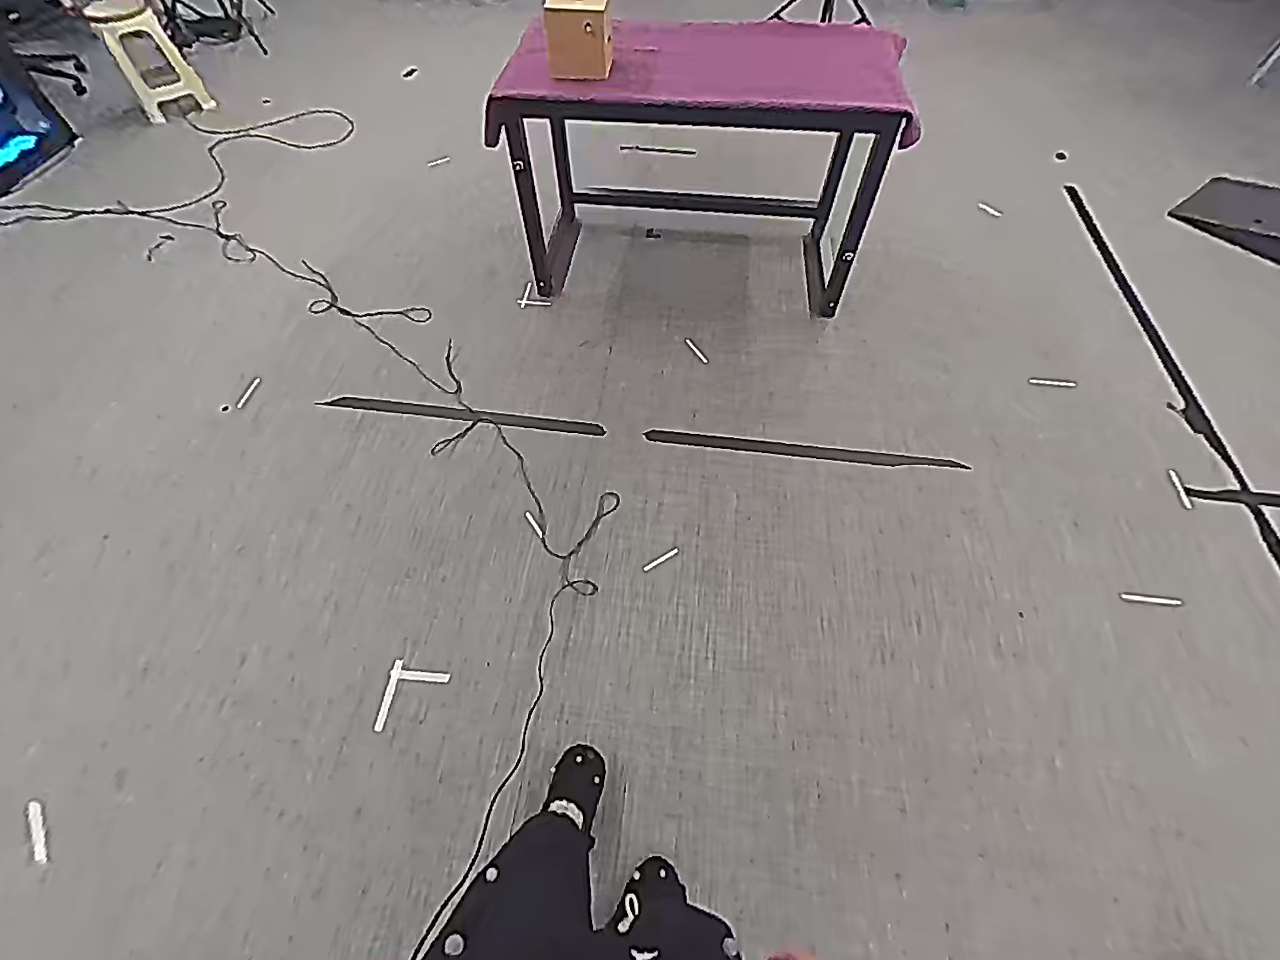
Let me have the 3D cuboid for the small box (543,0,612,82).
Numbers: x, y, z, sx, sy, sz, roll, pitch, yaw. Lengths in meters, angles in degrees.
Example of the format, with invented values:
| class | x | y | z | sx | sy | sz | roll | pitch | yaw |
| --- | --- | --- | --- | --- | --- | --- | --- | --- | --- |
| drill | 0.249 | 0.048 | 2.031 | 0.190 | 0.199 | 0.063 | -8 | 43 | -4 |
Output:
| class | x | y | z | sx | sy | sz | roll | pitch | yaw |
| --- | --- | --- | --- | --- | --- | --- | --- | --- | --- |
| small box | -0.178 | -1.312 | 1.609 | 0.179 | 0.176 | 0.168 | 3 | 56 | 3 |
